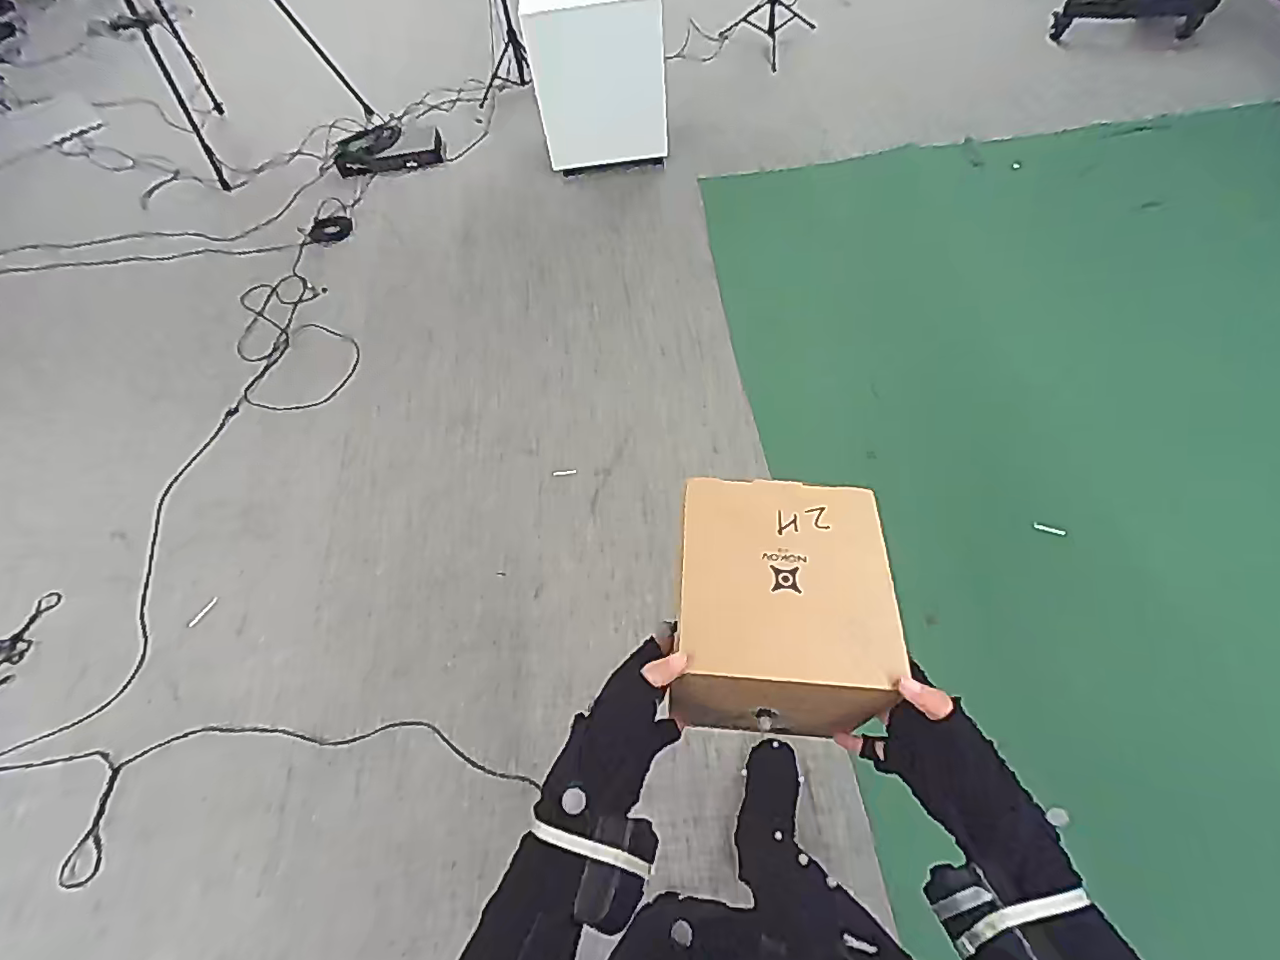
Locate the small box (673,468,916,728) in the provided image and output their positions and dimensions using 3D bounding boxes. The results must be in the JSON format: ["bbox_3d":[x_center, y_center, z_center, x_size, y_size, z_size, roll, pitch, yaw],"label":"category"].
[{"bbox_3d":[0.118,0.112,0.489,0.168,0.176,0.179,4,54,3],"label":"small box"}]
